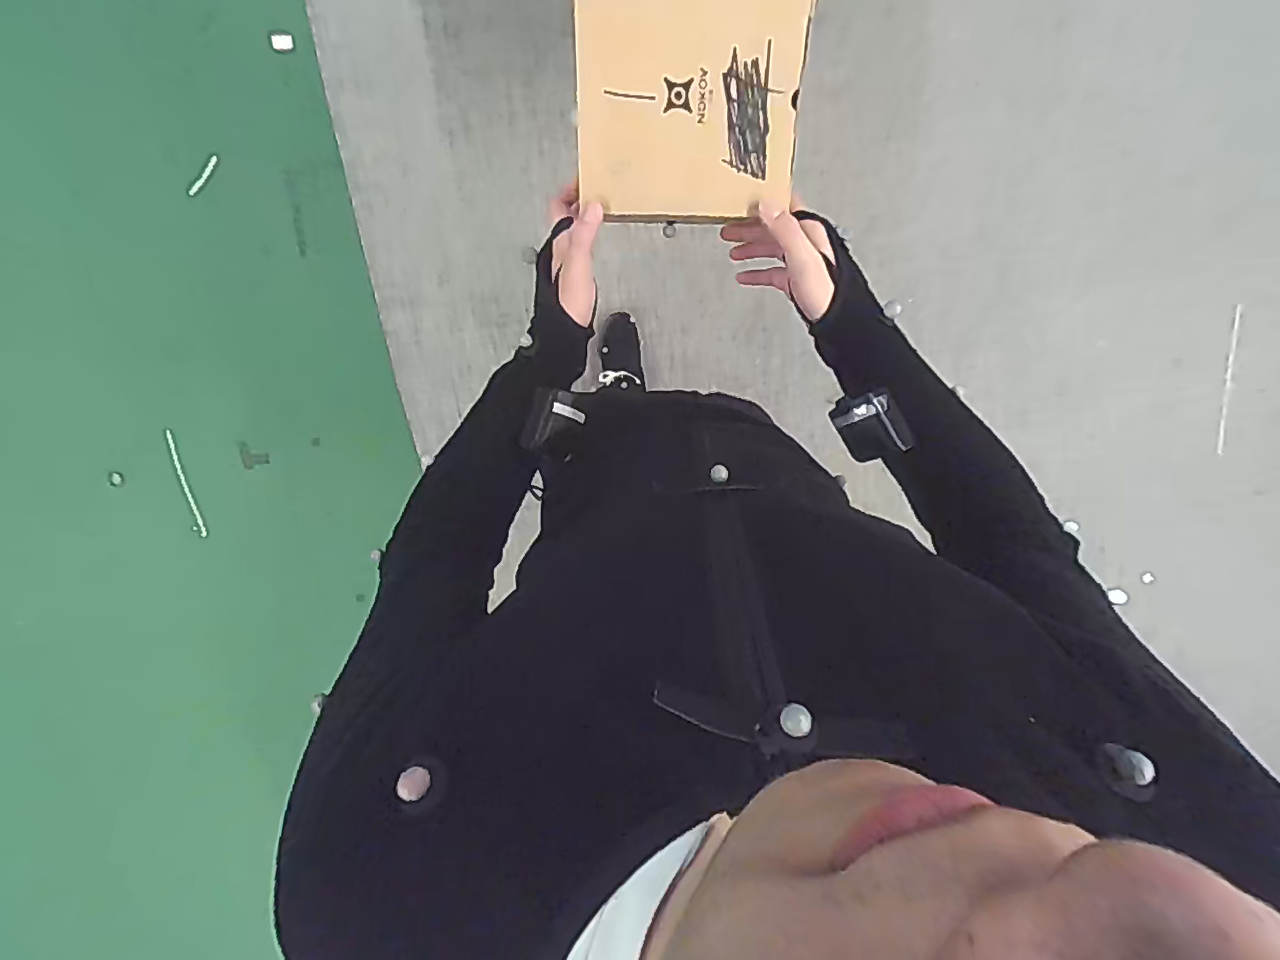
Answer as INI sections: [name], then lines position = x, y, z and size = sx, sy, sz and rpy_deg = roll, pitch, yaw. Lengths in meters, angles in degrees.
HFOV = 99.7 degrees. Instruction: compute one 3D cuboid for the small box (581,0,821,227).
[small box]
position = 0.041, -0.323, 0.487
size = 0.179, 0.176, 0.168
rpy_deg = 1, 114, 0
